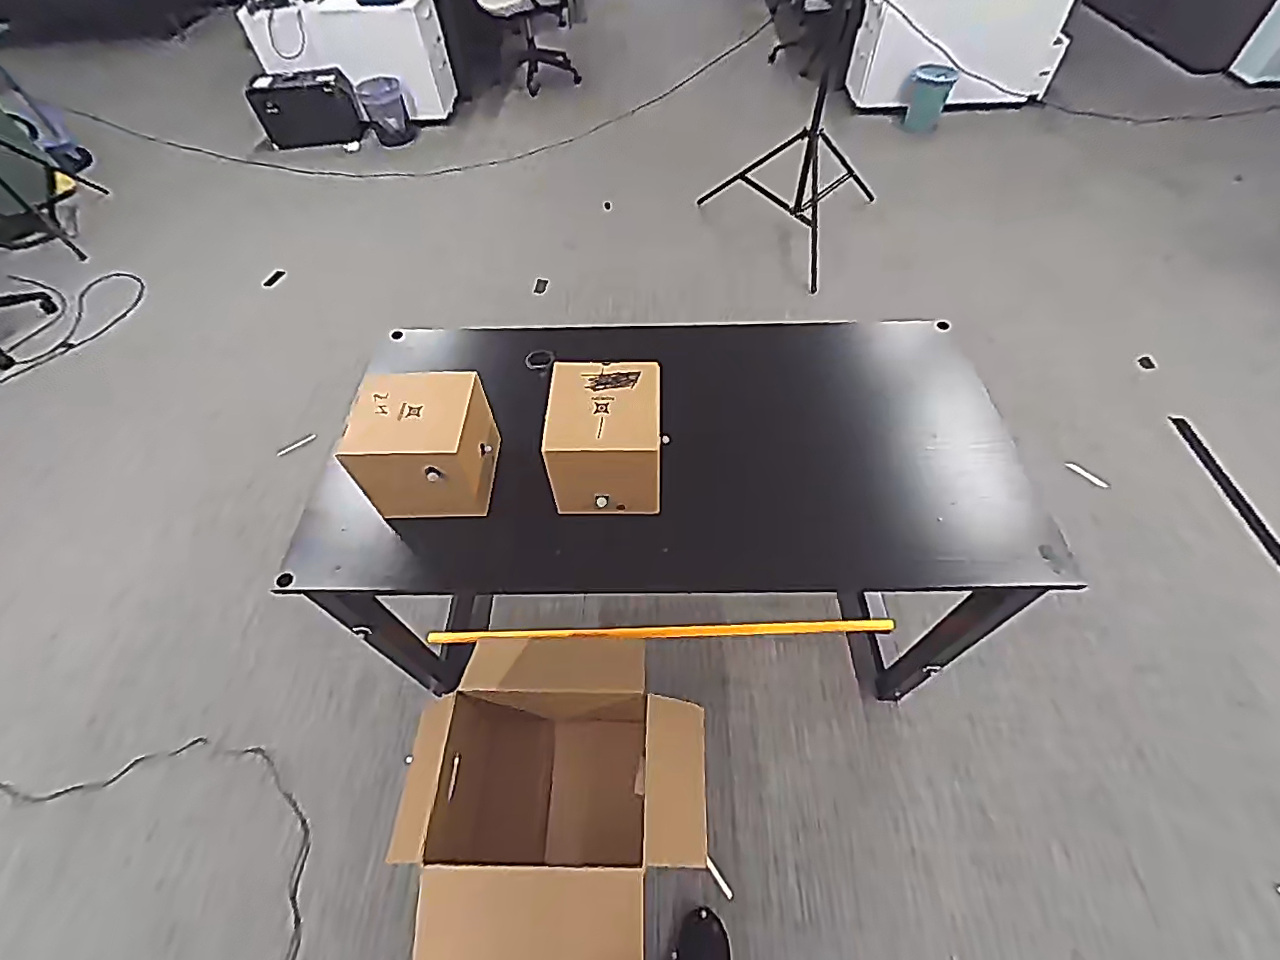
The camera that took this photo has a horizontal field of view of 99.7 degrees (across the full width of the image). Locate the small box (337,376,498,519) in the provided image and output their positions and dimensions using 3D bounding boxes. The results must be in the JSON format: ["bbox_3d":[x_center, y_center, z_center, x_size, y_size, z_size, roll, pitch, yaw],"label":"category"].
[{"bbox_3d":[-0.339,-0.049,0.869,0.179,0.176,0.168,-1,53,1],"label":"small box"}]

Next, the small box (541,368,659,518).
[{"bbox_3d":[-0.054,-0.058,0.867,0.168,0.176,0.179,0,55,2],"label":"small box"}]
